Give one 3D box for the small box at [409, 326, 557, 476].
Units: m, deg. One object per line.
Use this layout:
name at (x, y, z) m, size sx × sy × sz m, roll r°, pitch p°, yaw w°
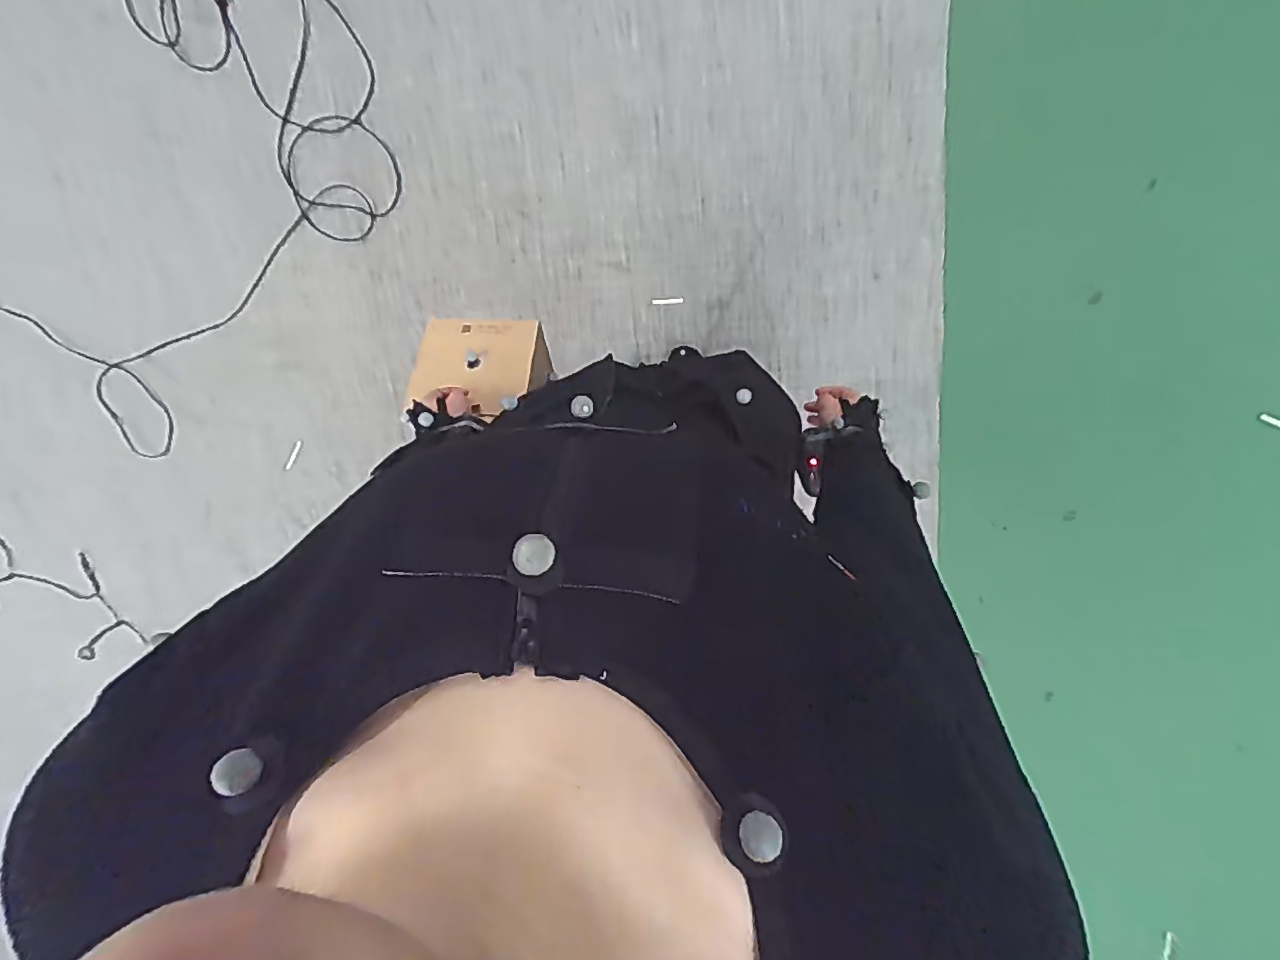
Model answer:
small box at (-0.226, -0.119, 0.827) m, size 0.168 × 0.179 × 0.176 m, roll 1°, pitch 65°, yaw 2°
